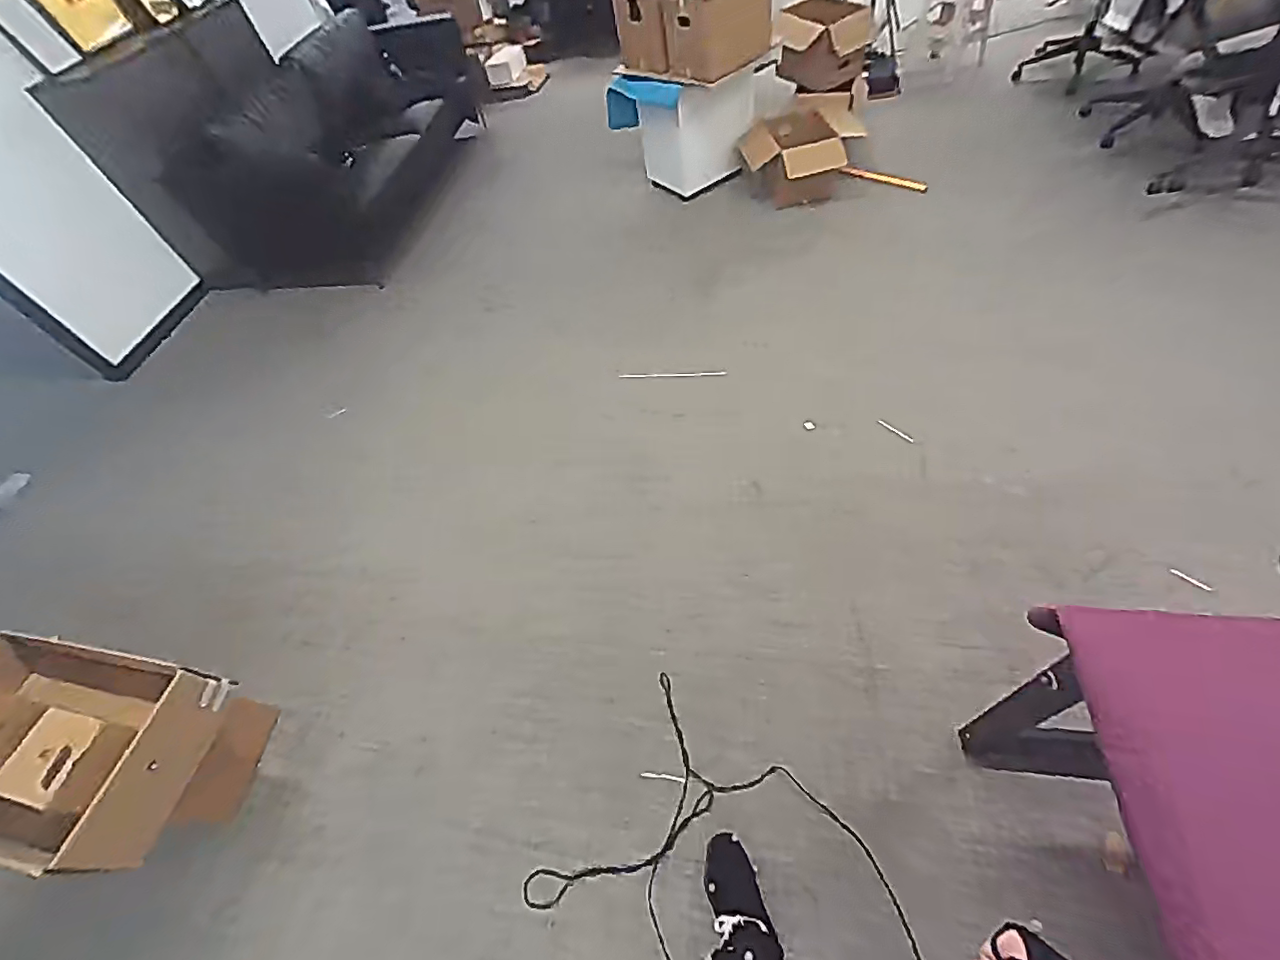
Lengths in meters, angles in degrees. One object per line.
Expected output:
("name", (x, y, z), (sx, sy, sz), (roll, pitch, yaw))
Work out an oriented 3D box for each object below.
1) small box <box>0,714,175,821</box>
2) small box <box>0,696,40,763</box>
("small box", (-1.186, 0.629, 1.177), (0.179, 0.176, 0.168), (3, 54, 16))
("small box", (-1.437, 0.518, 1.113), (0.179, 0.176, 0.168), (5, 55, 12))
